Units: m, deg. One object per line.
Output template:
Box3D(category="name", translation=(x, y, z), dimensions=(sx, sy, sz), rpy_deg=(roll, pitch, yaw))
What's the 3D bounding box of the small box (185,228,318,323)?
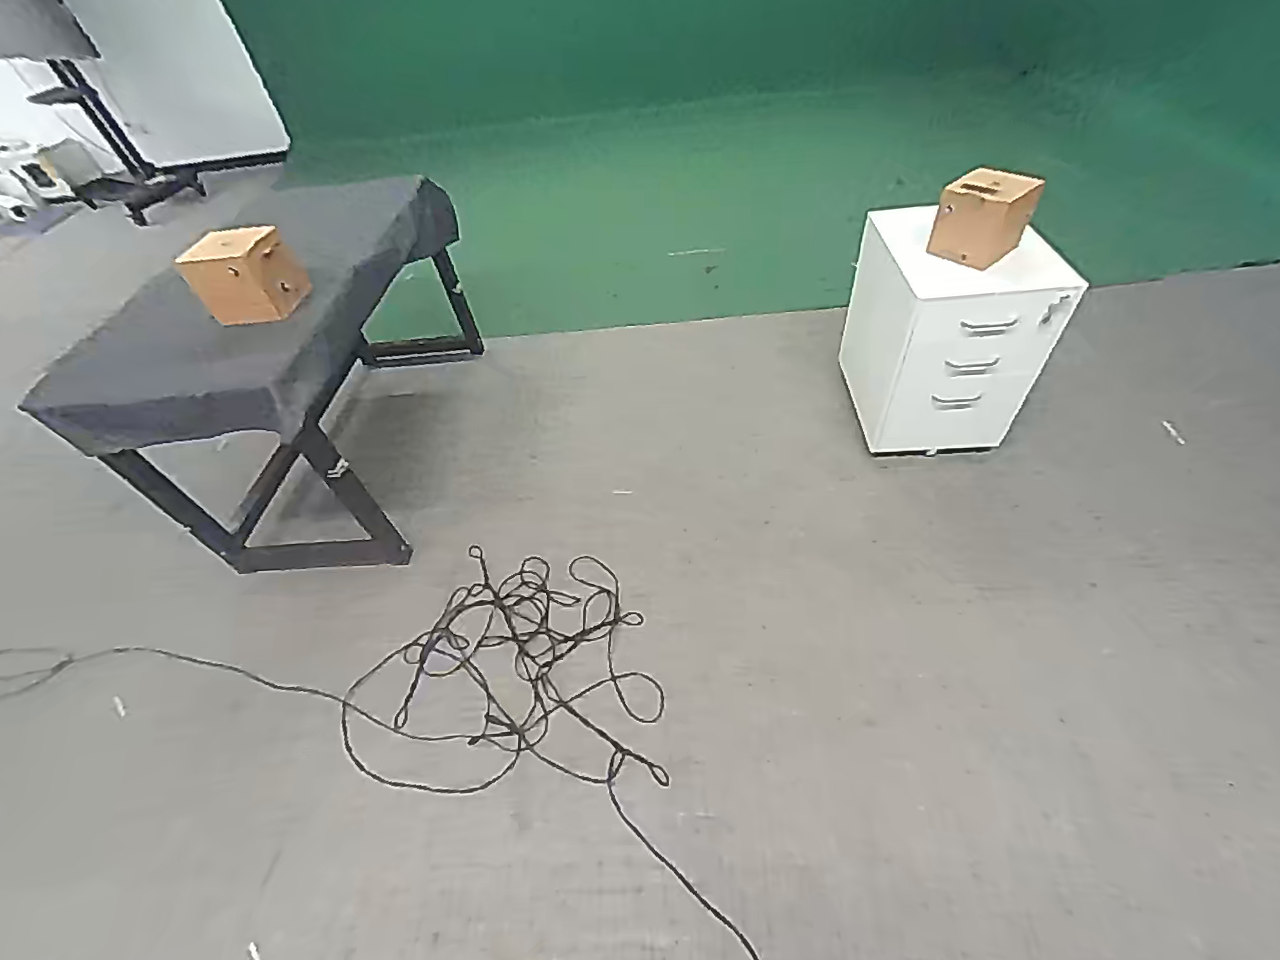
Box3D(category="small box", translation=(-0.958, -0.507, 1.352), dimensions=(0.179, 0.176, 0.168), rpy_deg=(-2, 47, 5))
